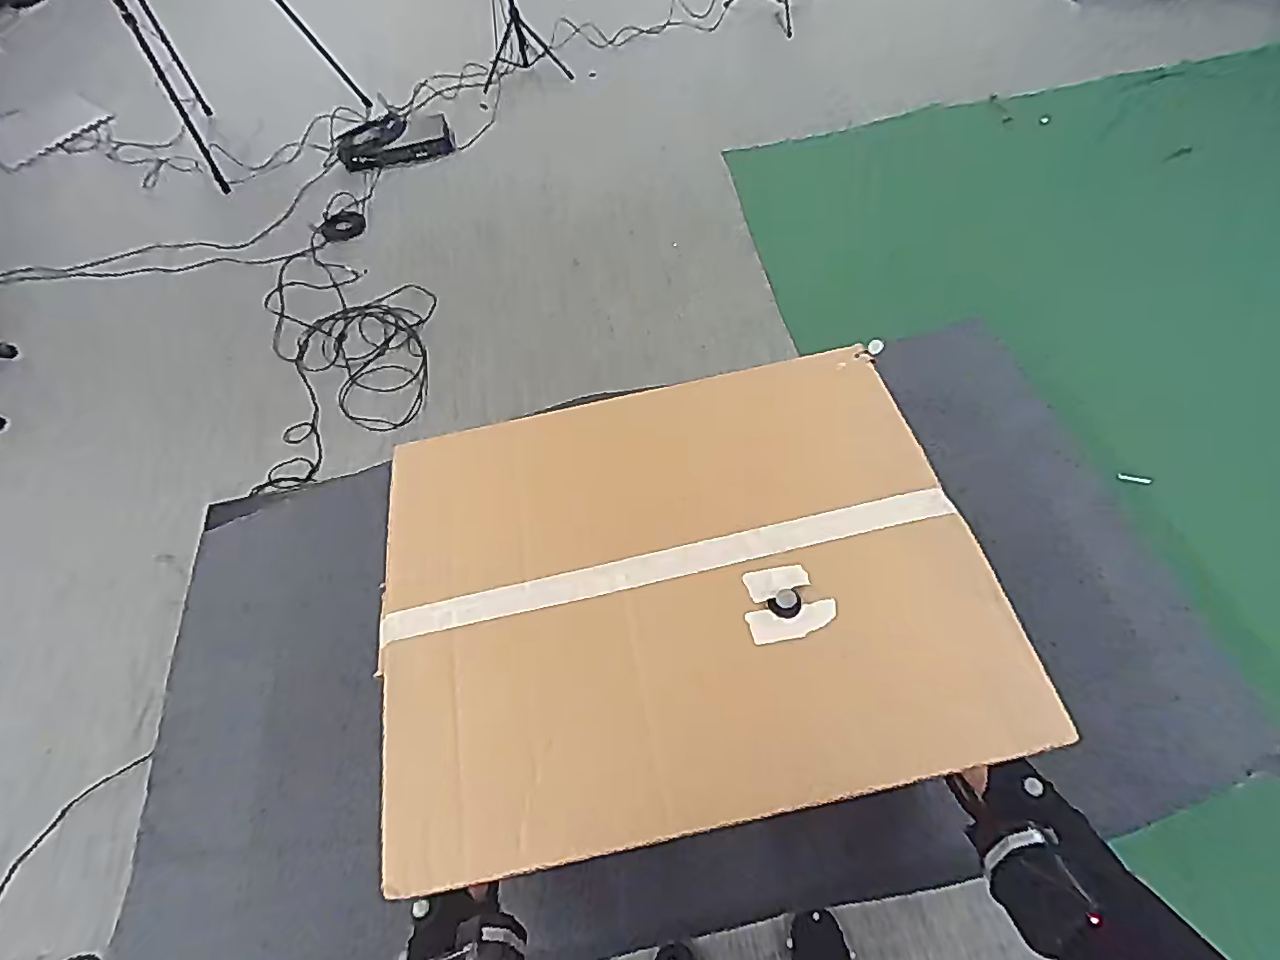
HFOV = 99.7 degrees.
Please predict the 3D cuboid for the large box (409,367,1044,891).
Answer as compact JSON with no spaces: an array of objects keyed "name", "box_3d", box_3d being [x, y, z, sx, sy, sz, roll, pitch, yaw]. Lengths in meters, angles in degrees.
[{"name":"large box","box_3d":[0.038,0.144,0.526,0.408,0.320,0.320,-12,61,-1]}]
